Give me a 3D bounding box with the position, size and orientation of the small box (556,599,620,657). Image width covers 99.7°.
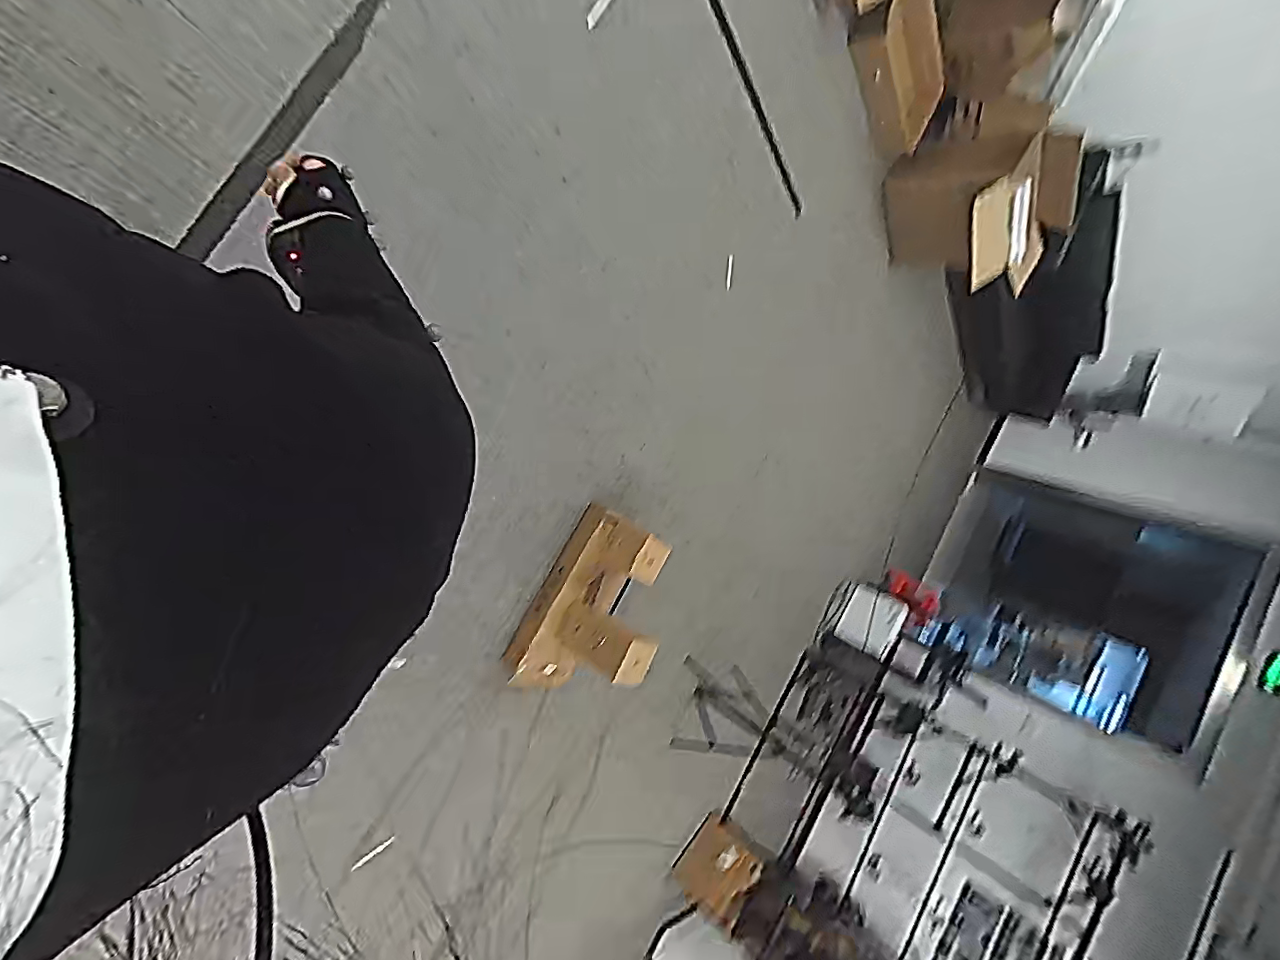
[{"bbox_3d":[-0.192,0.577,2.090,0.179,0.176,0.168,33,83,-49],"label":"small box"}]

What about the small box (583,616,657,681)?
[{"bbox_3d":[-0.073,0.617,1.986,0.179,0.176,0.168,29,85,-49],"label":"small box"}]

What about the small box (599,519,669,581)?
[{"bbox_3d":[-0.024,0.273,2.125,0.179,0.176,0.168,35,81,-49],"label":"small box"}]
